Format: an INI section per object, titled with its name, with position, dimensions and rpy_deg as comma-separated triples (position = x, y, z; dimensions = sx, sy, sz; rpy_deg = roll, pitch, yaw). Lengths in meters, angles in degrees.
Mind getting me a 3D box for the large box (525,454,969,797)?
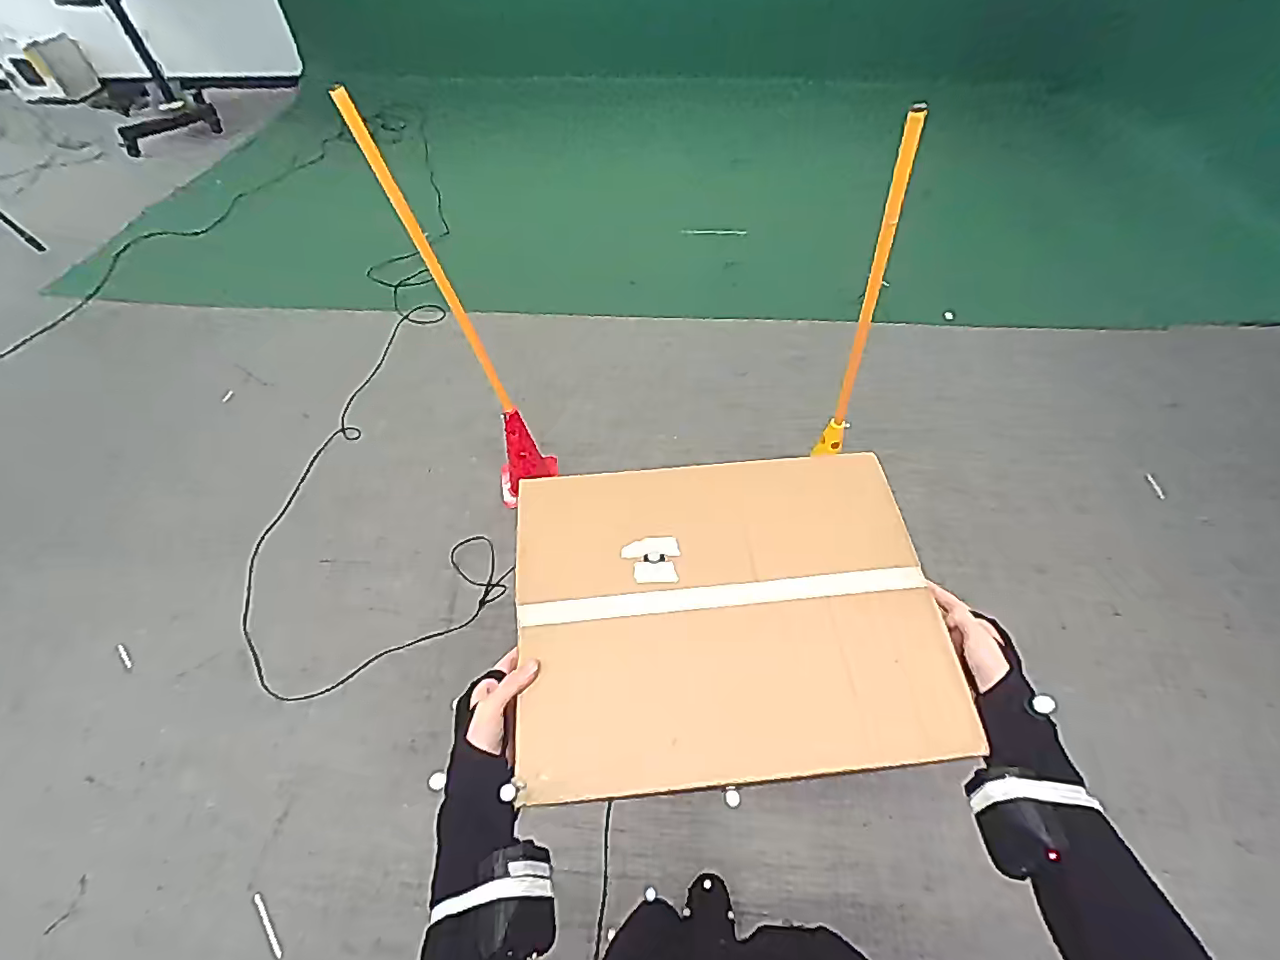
[large box]
position = 0.087, 0.194, 0.675
dimensions = 0.408, 0.320, 0.320
rpy_deg = -5, 59, -2
